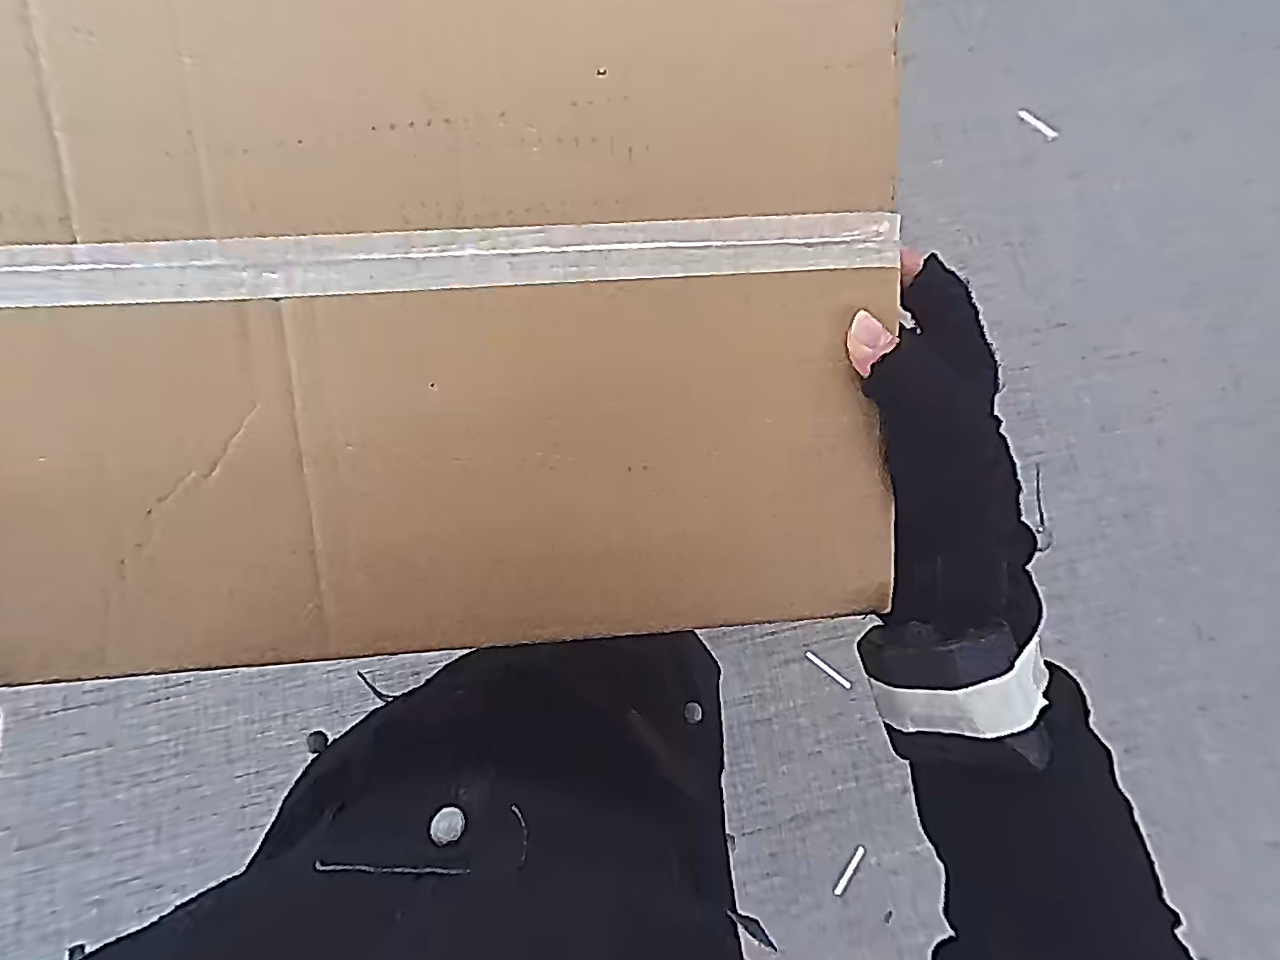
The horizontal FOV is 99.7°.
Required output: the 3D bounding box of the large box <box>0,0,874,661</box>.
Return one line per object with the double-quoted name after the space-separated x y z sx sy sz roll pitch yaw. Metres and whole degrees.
-0.109 -0.110 0.364 0.408 0.320 0.320 -3 99 -4 "large box"
